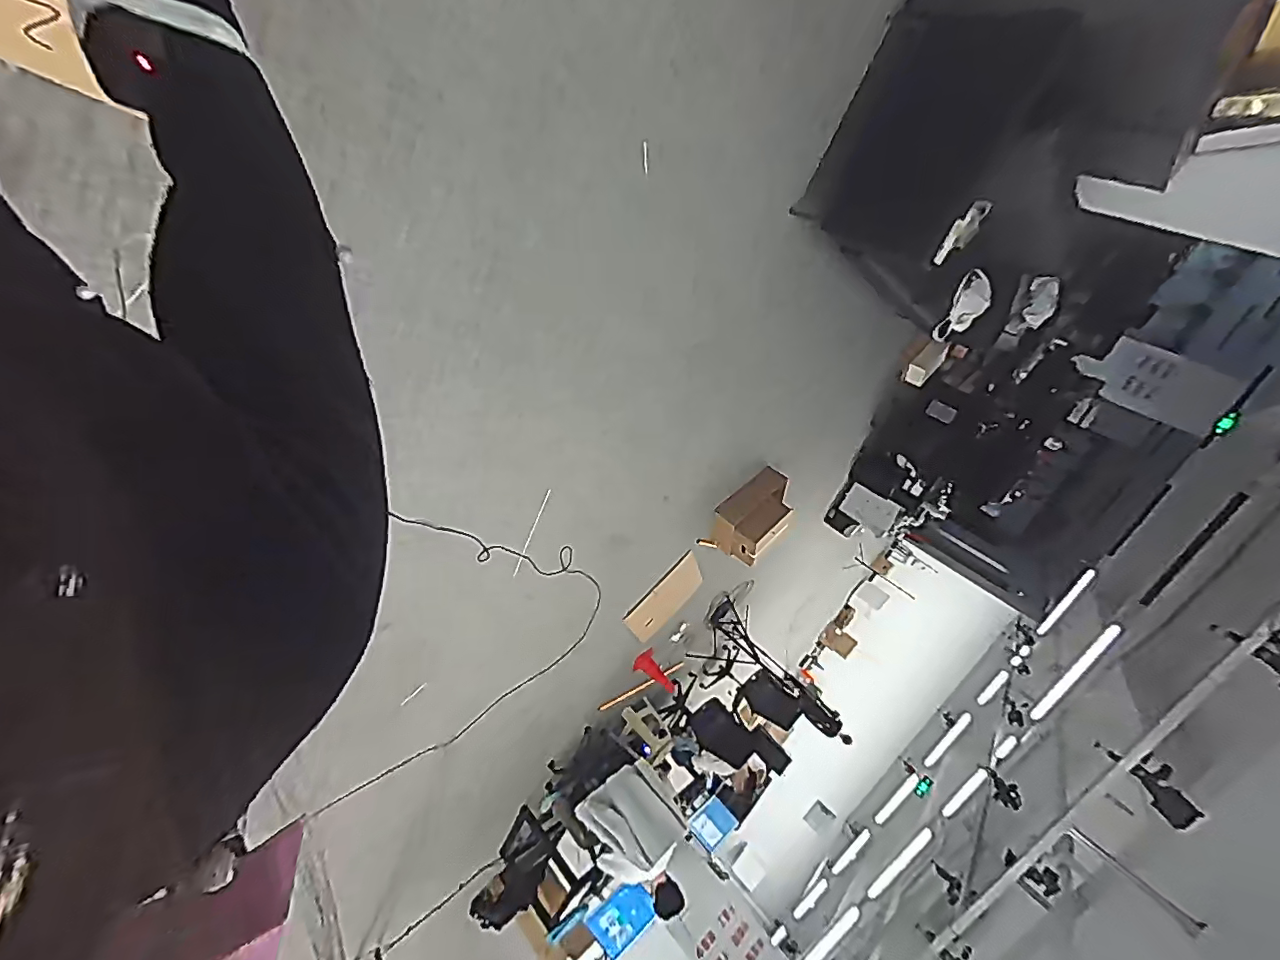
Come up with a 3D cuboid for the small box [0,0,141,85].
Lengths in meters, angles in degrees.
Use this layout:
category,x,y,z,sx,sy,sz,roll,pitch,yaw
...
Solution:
category,x,y,z,sx,sy,sz,roll,pitch,yaw
small box,-0.677,-0.577,0.586,0.179,0.176,0.168,-1,121,-54
